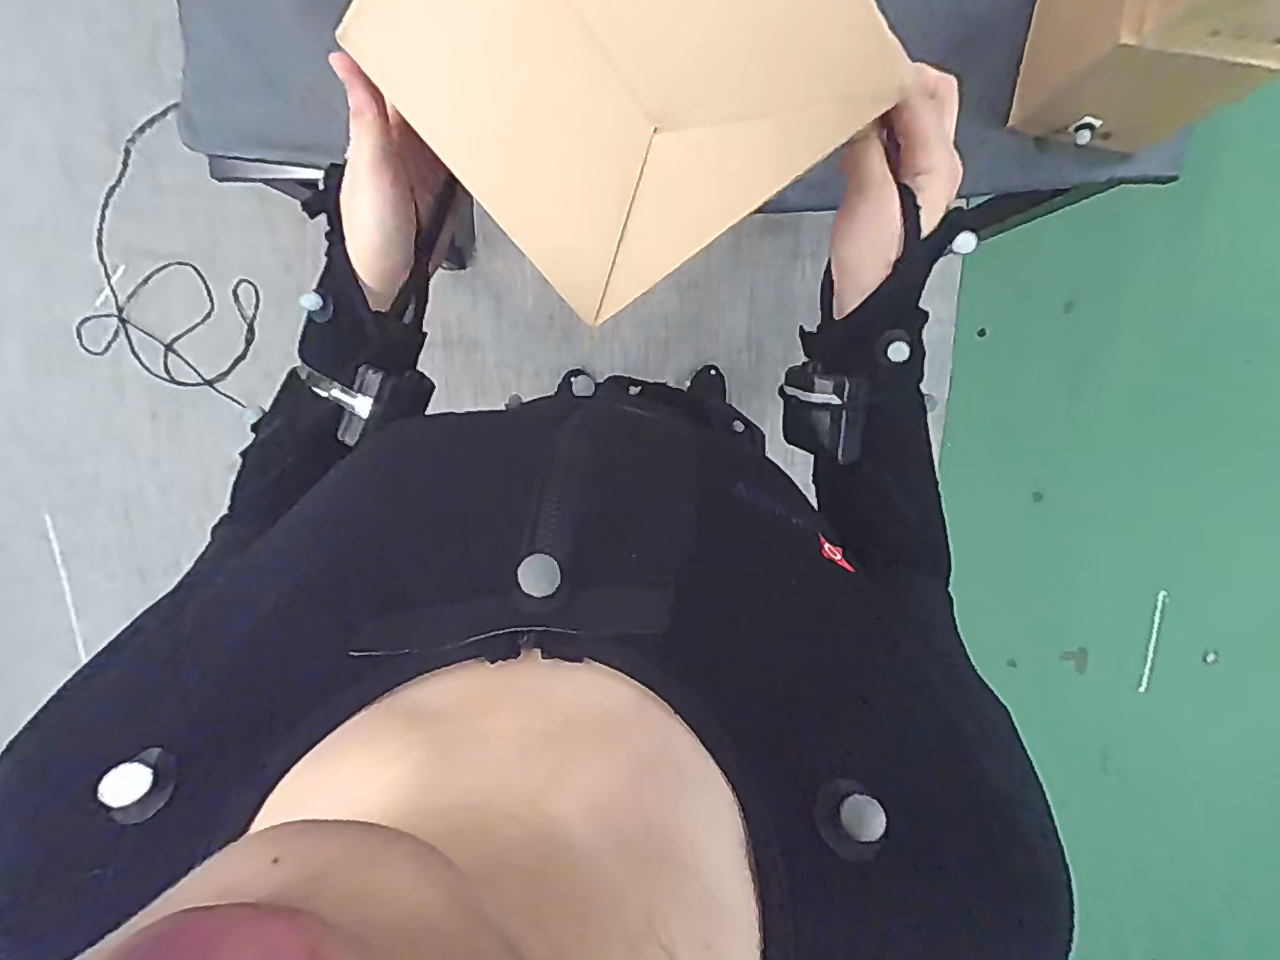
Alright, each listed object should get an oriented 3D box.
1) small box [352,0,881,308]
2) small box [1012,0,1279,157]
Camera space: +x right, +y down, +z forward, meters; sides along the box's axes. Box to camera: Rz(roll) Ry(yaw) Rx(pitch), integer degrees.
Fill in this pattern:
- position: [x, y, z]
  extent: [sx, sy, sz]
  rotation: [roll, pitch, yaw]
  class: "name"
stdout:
- position: [0.001, -0.221, 0.276]
  extent: [0.179, 0.176, 0.168]
  rotation: [-27, 120, 33]
  class: "small box"
- position: [0.527, -0.471, 0.554]
  extent: [0.168, 0.176, 0.179]
  rotation: [10, 98, 1]
  class: "small box"
